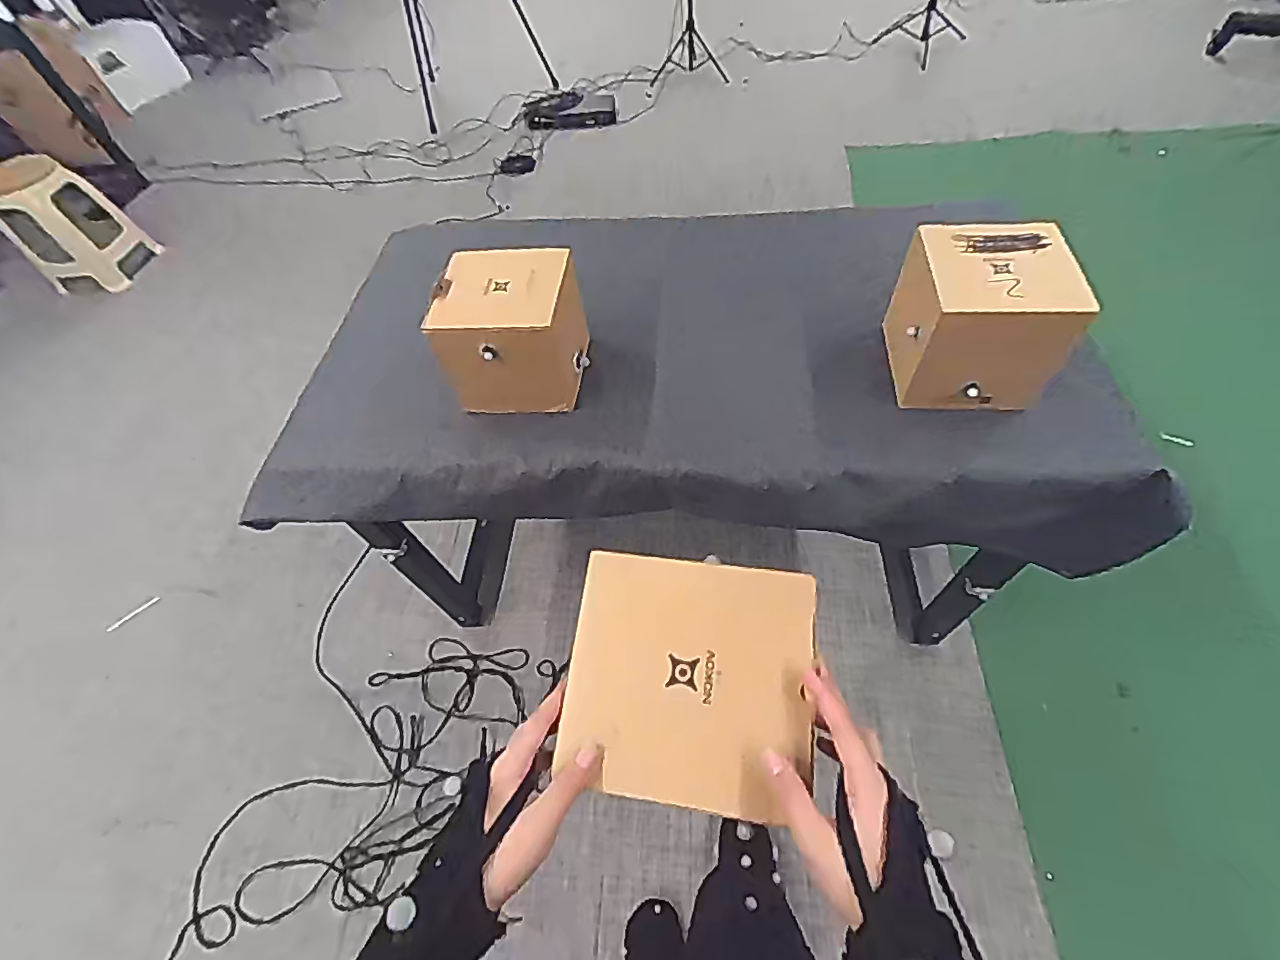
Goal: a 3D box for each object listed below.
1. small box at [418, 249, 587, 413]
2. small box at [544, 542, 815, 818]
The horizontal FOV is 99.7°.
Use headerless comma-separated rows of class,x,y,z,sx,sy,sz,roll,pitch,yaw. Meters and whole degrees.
small box,-0.185,-0.212,0.788,0.179,0.176,0.168,2,57,6
small box,0.040,0.164,0.452,0.179,0.176,0.168,6,66,8
